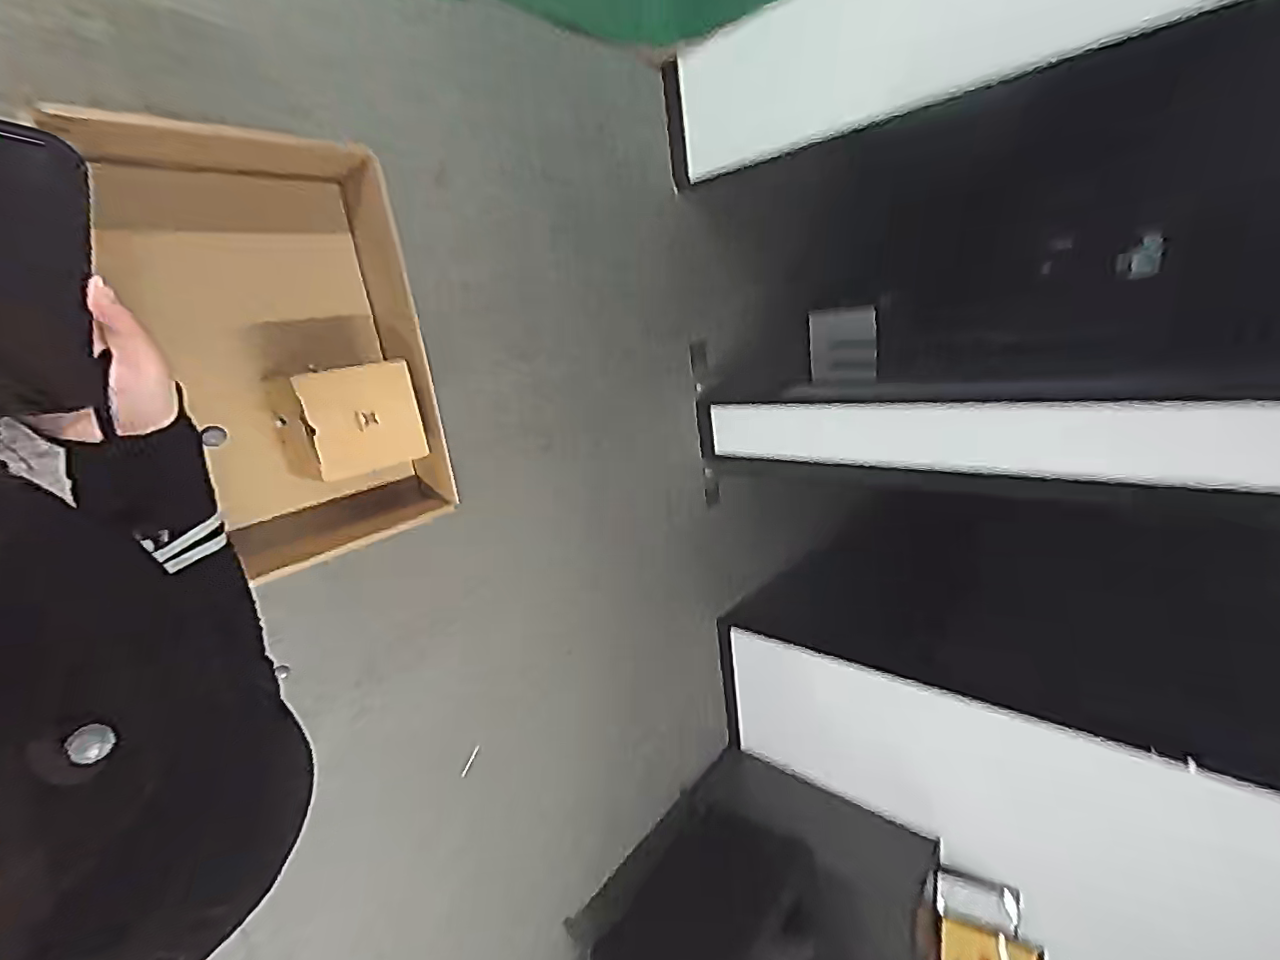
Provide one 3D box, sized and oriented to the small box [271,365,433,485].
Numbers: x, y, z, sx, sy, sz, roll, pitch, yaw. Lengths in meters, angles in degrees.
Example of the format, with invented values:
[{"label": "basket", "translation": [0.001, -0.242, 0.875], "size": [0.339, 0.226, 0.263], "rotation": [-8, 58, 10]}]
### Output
[{"label": "small box", "translation": [-0.487, -0.101, 0.920], "size": [0.179, 0.176, 0.168], "rotation": [-24, 112, -43]}]
